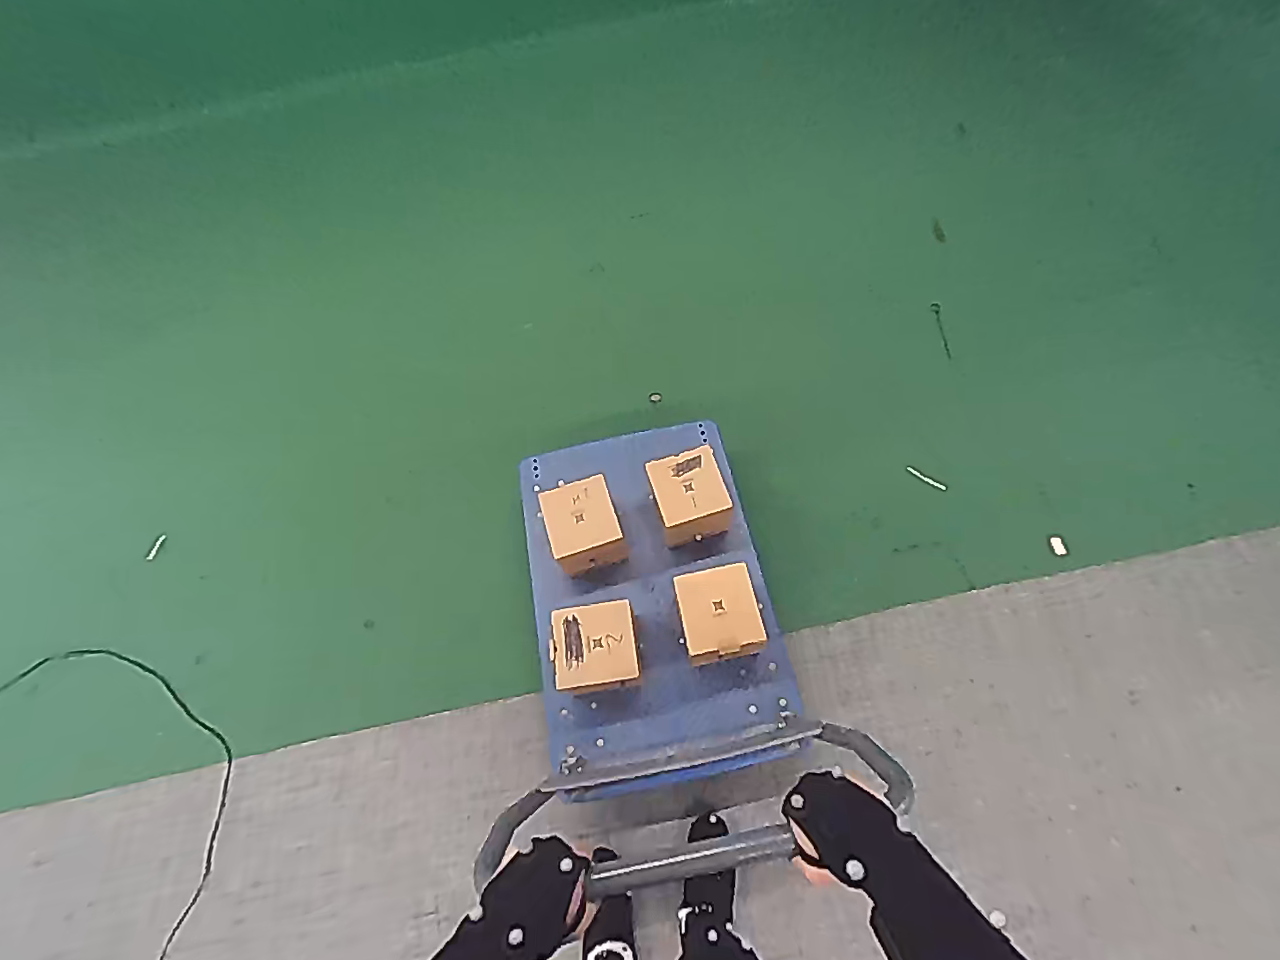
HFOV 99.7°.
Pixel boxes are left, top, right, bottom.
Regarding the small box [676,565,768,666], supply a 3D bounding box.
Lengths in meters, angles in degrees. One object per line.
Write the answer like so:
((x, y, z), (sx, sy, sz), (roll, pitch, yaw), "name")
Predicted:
((0.176, 0.311, 1.227), (0.168, 0.176, 0.179), (-12, 66, -1), "small box")

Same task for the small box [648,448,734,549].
((0.122, 0.050, 1.350), (0.168, 0.176, 0.179), (-17, 66, -2), "small box")

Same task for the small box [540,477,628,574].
((-0.134, 0.121, 1.337), (0.168, 0.176, 0.179), (-17, 65, -4), "small box")
